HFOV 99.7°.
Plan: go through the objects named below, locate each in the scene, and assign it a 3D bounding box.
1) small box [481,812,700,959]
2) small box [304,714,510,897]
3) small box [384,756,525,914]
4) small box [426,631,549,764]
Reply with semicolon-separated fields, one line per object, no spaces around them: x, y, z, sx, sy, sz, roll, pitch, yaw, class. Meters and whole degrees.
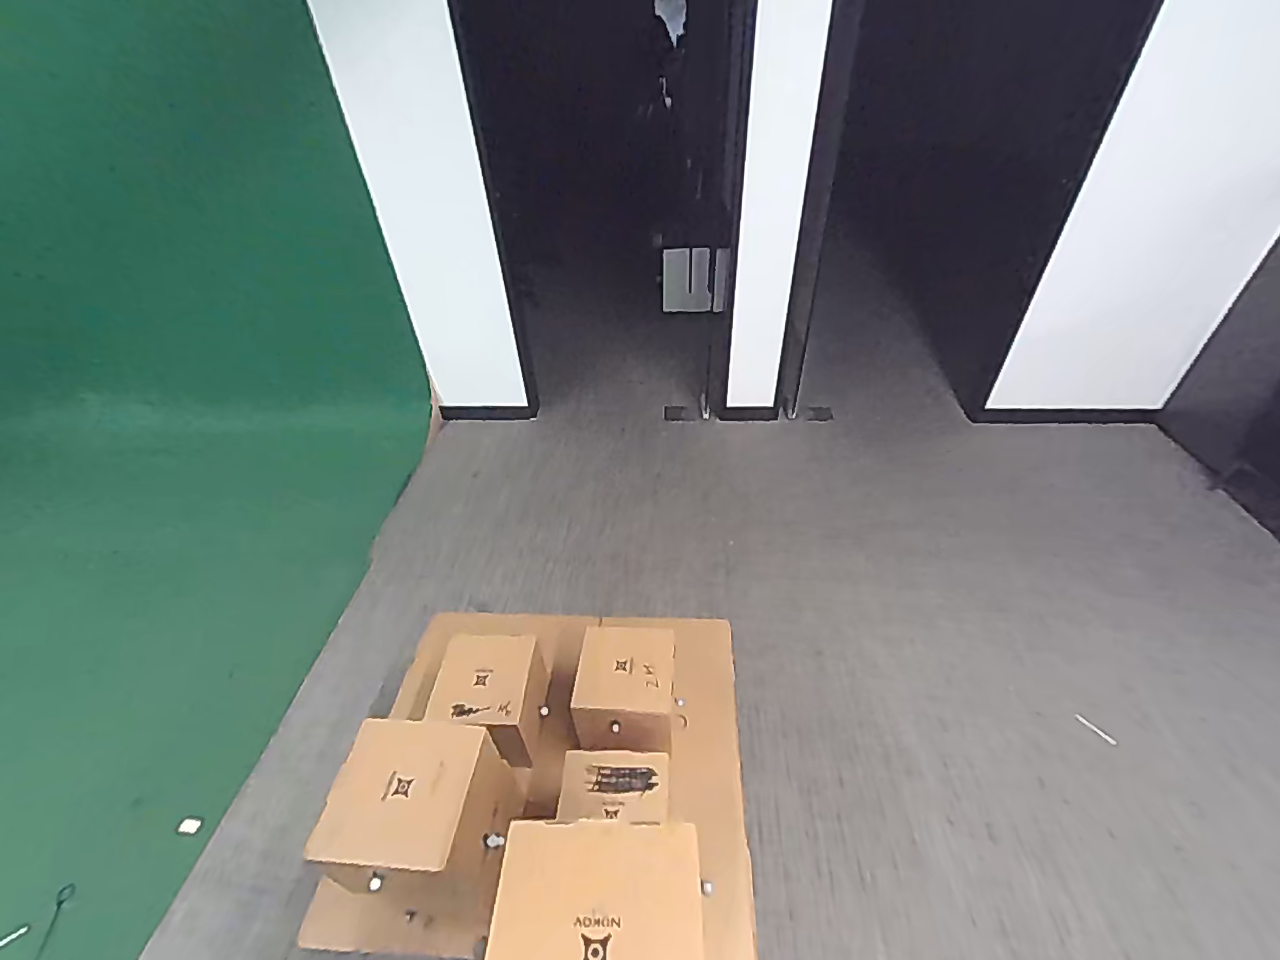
-0.035;0.412;0.455;0.168;0.176;0.179;0;33;0;small box
-0.294;0.439;0.729;0.179;0.176;0.168;2;42;6;small box
-0.290;0.551;0.848;0.168;0.176;0.179;1;40;6;small box
-0.272;0.406;1.016;0.168;0.176;0.179;-2;40;4;small box
